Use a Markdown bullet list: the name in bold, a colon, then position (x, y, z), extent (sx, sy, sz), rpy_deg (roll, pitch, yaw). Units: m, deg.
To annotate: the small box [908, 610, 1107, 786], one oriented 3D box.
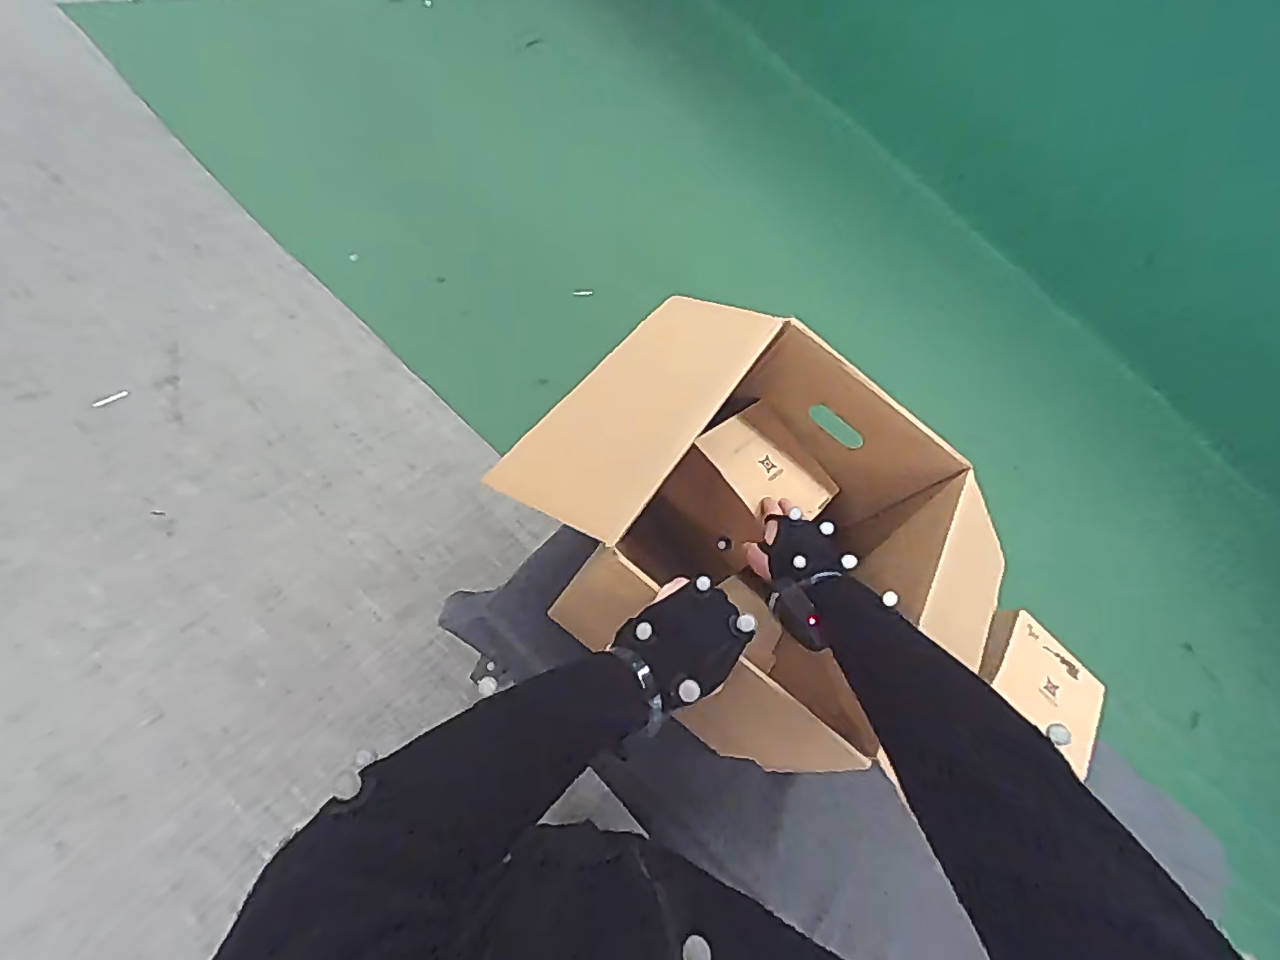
- **small box**: position (0.553, 0.332, 0.832), extent (0.168, 0.176, 0.179), rpy_deg (47, 60, 5)
